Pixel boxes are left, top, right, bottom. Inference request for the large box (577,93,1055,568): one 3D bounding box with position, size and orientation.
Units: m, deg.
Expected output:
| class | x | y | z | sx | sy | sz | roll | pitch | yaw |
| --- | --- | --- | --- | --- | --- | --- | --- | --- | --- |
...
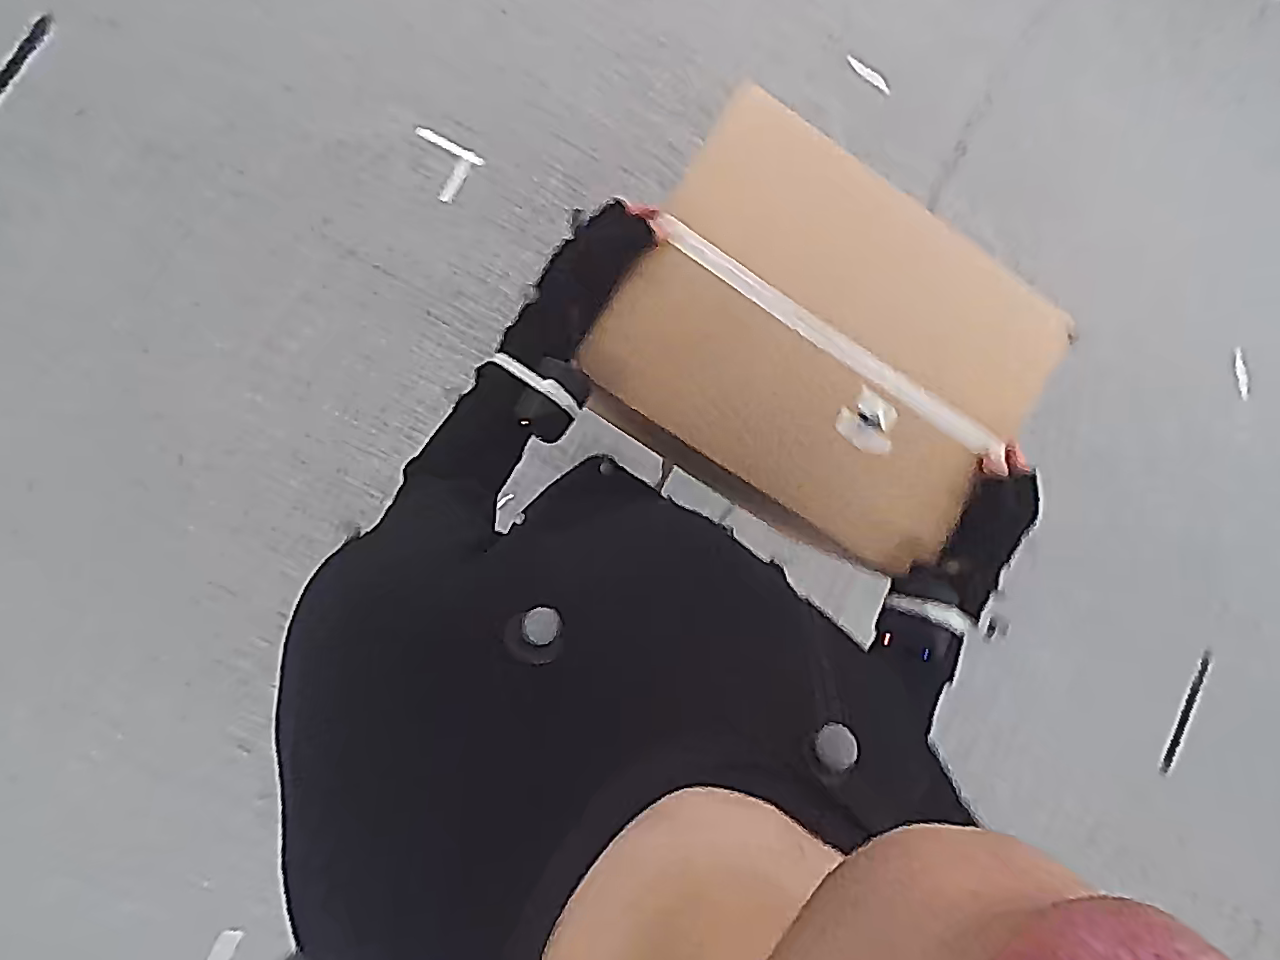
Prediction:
| class | x | y | z | sx | sy | sz | roll | pitch | yaw |
| --- | --- | --- | --- | --- | --- | --- | --- | --- | --- |
| large box | 0.167 | -0.146 | 0.679 | 0.408 | 0.320 | 0.320 | 33 | 90 | -7 |
